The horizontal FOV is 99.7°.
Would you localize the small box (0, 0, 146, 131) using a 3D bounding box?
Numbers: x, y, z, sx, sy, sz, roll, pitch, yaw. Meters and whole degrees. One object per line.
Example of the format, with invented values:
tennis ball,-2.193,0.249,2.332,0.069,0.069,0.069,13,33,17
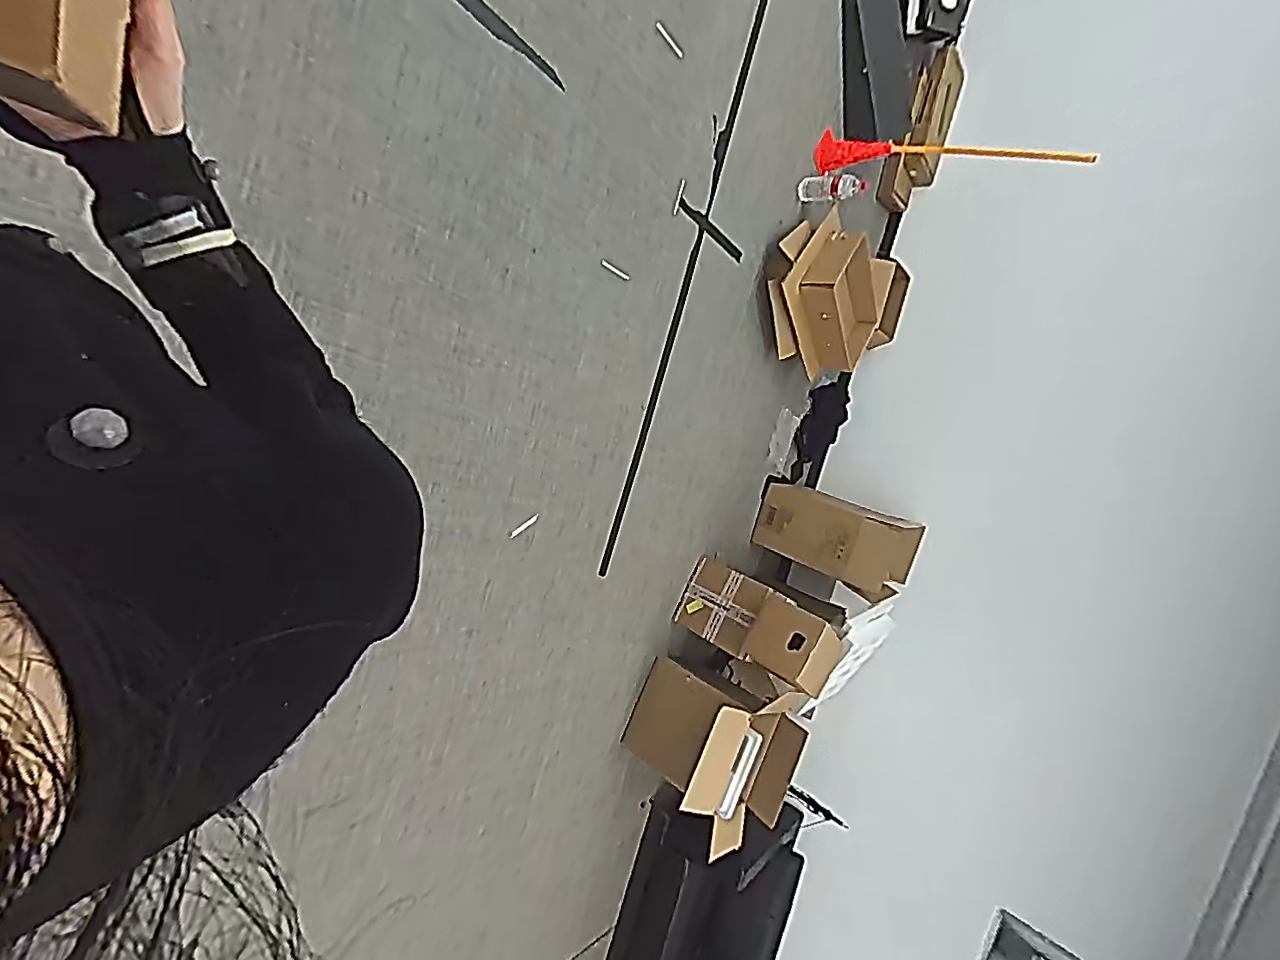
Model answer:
small box,-0.301,-0.265,0.202,0.168,0.176,0.179,6,106,-40
